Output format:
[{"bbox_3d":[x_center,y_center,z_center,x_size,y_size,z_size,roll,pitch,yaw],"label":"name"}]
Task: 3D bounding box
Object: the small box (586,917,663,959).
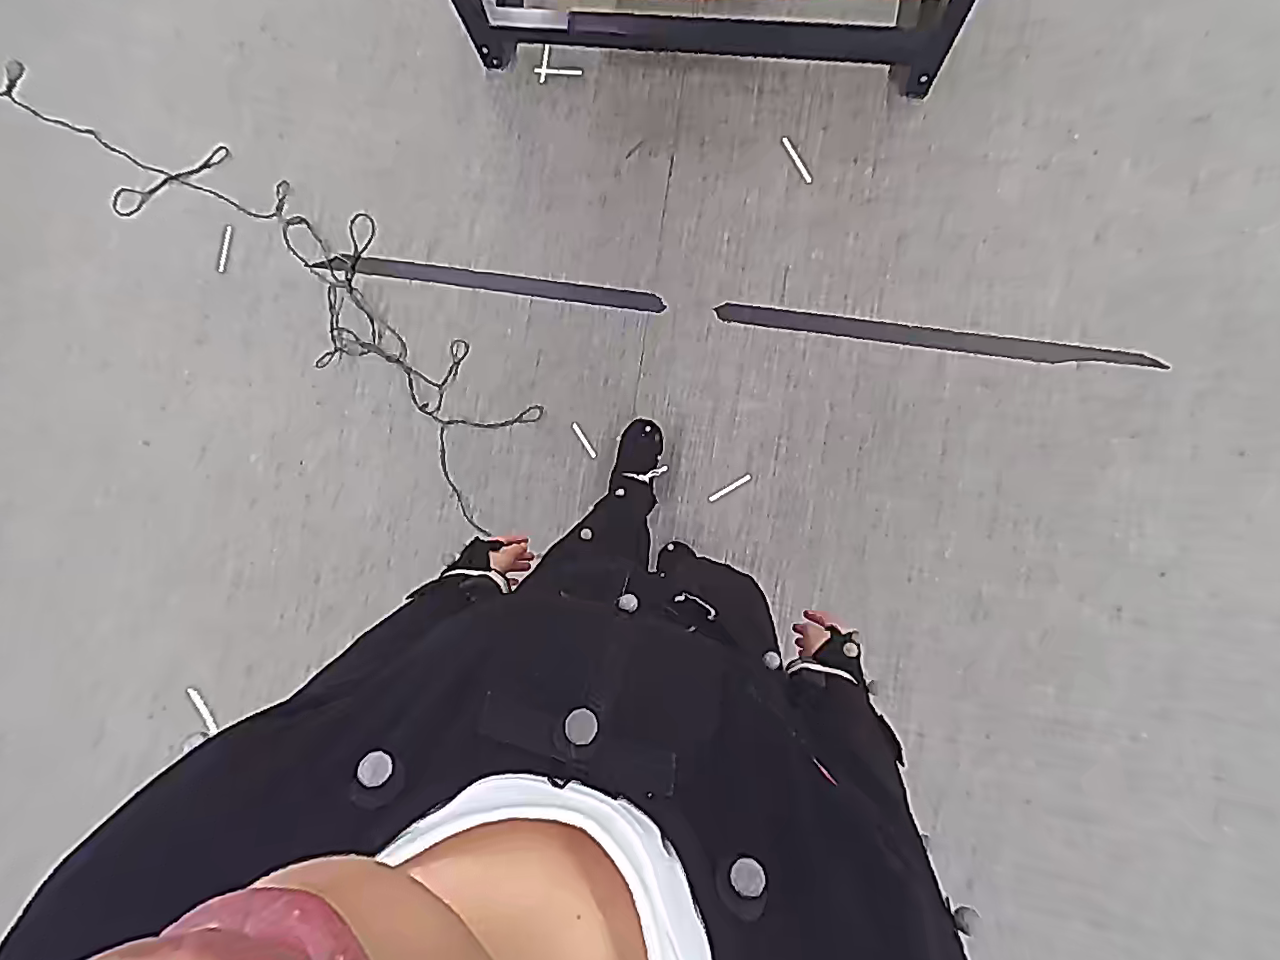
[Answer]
[{"bbox_3d":[-0.047,1.178,1.254,0.179,0.176,0.168,9,88,8],"label":"small box"}]
